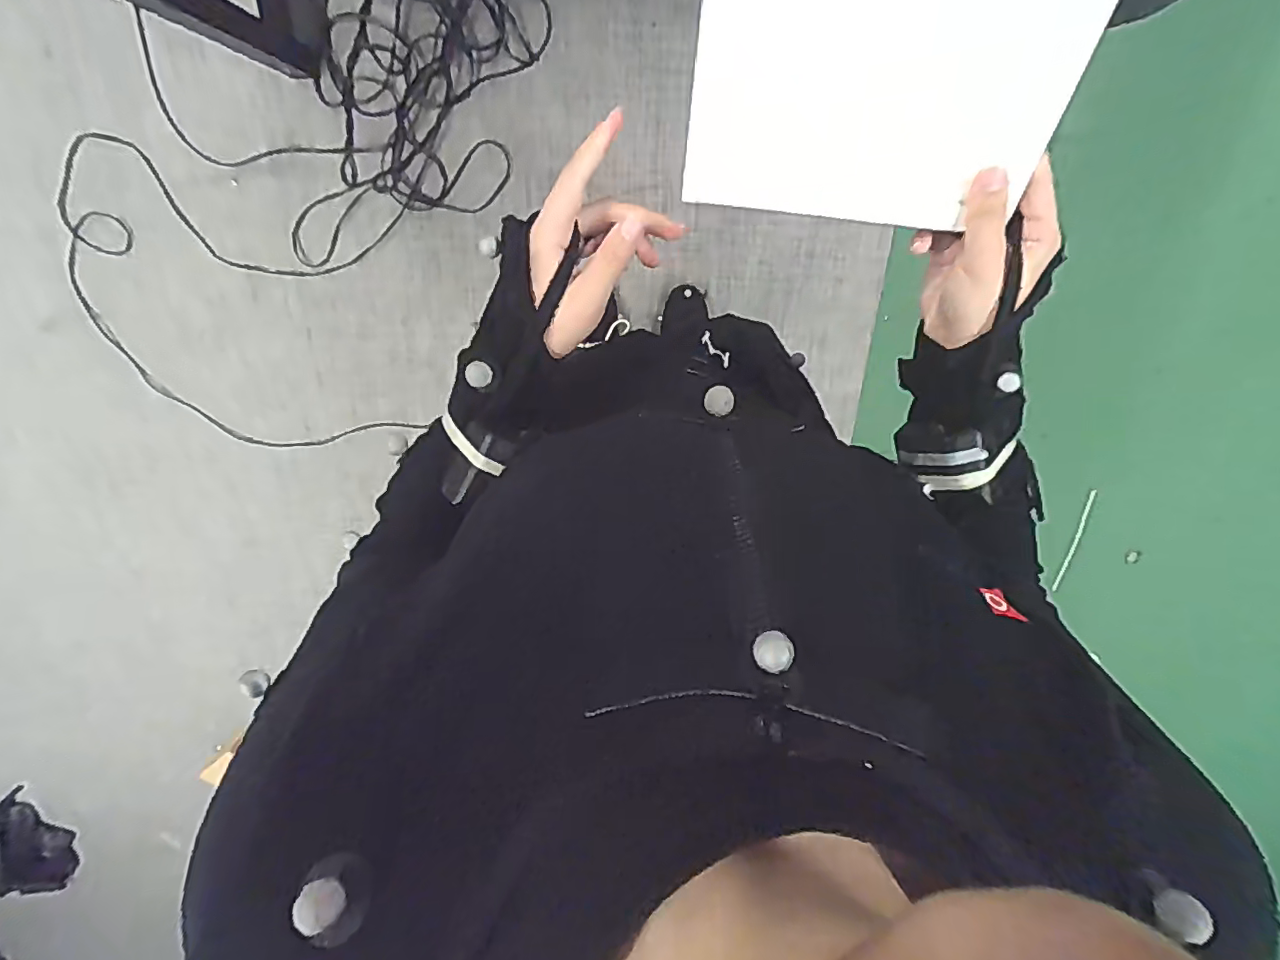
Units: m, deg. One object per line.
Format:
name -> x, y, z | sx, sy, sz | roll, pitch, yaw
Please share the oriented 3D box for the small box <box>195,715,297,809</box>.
small box -> -1.248, 0.898, 1.728 | 0.179, 0.176, 0.168 | -39, 108, 15
